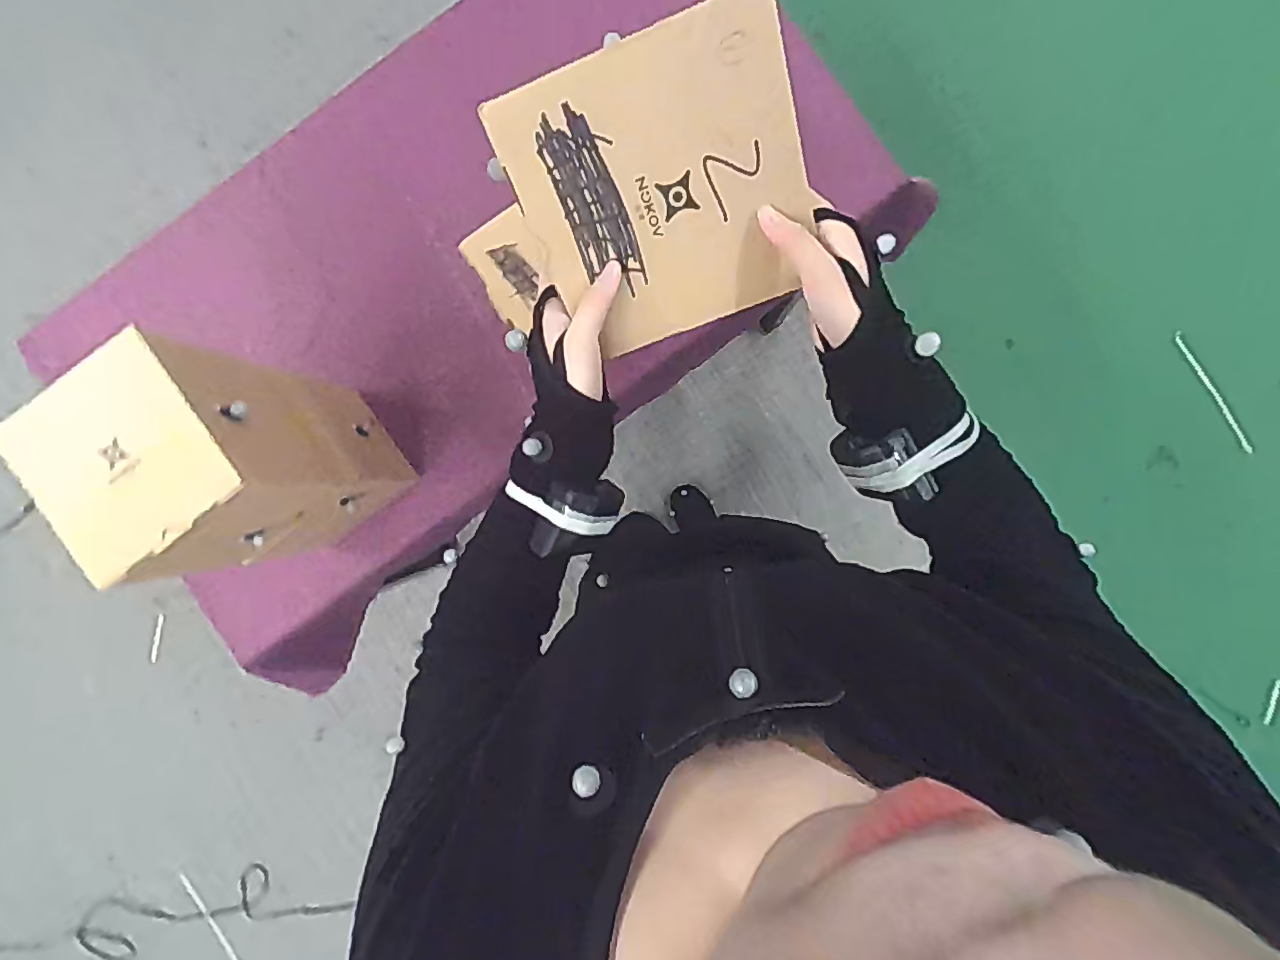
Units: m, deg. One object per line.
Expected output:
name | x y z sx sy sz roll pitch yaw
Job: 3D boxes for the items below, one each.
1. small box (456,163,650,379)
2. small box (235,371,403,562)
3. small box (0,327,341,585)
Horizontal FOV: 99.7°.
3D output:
small box | -0.098 -0.254 0.706 0.179 0.176 0.168 -34 89 2
small box | -0.449 -0.017 0.720 0.179 0.176 0.168 -36 88 1
small box | -0.460 -0.020 0.557 0.168 0.176 0.179 -36 89 1
